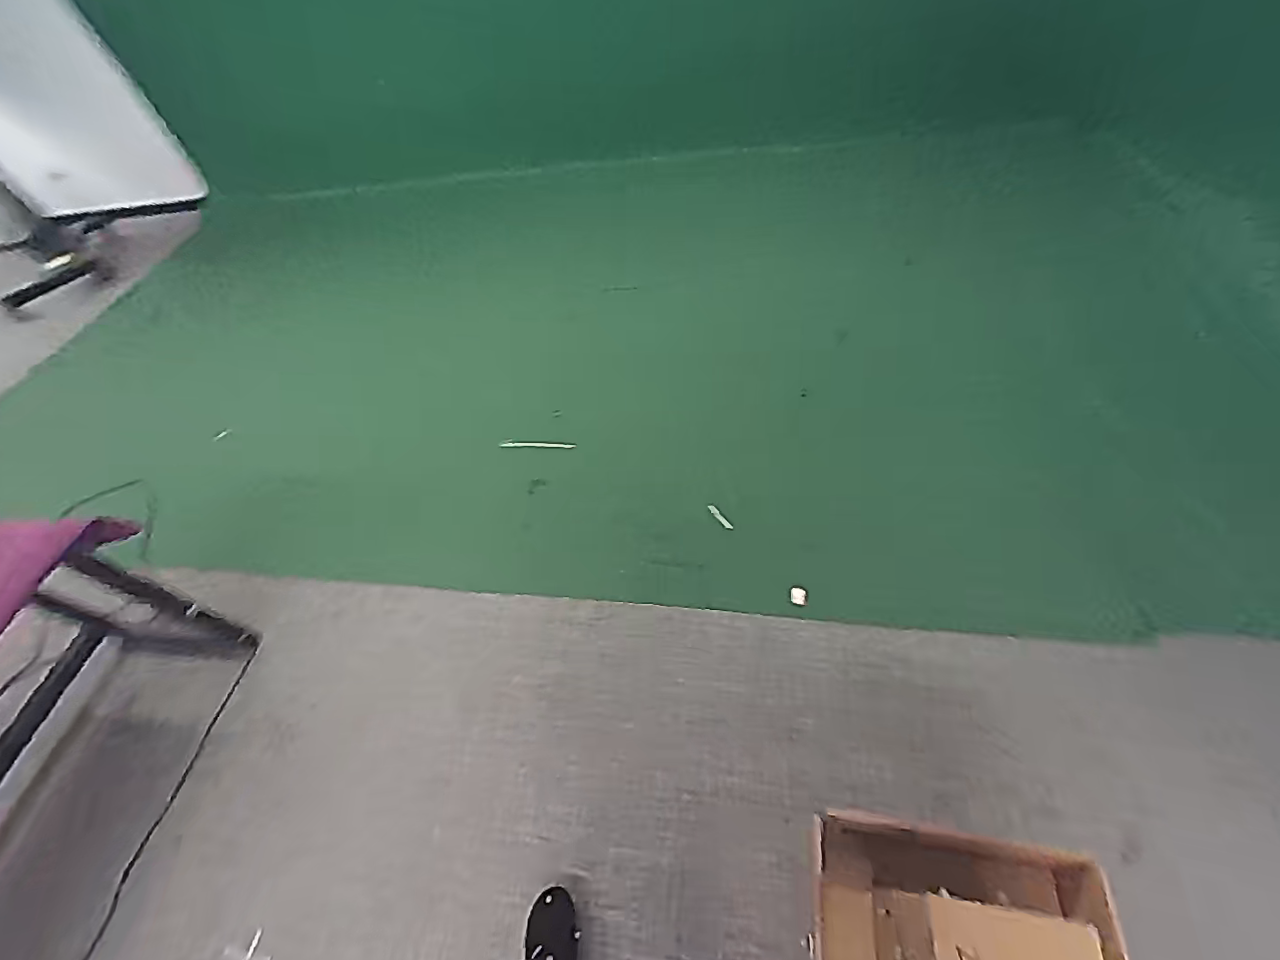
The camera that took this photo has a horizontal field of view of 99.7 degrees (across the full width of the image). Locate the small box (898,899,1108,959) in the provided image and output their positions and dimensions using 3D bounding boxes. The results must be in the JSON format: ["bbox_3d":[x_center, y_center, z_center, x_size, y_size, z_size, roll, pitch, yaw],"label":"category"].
[{"bbox_3d":[0.420,0.608,0.631,0.179,0.176,0.168,3,54,13],"label":"small box"}]
